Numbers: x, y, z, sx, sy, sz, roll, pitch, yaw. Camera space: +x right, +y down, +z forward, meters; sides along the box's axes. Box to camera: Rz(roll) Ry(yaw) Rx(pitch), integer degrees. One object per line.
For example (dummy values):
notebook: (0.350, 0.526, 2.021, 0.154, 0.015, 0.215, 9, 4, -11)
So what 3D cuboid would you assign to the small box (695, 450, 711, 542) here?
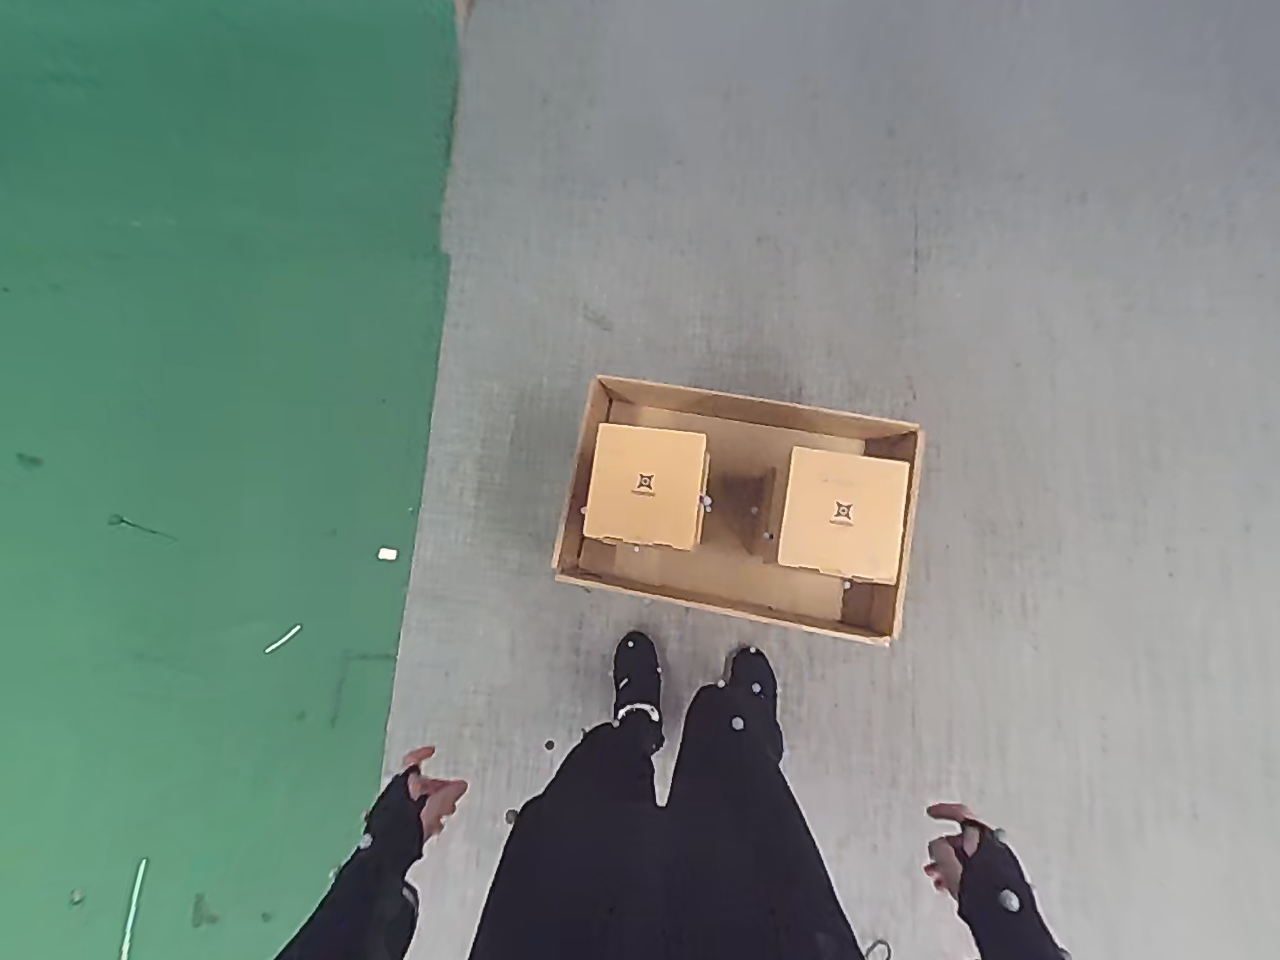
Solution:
small box: (0.038, 0.028, 1.032, 0.179, 0.176, 0.168, 7, 82, 8)

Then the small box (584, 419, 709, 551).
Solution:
small box: (0.016, 0.015, 0.871, 0.168, 0.176, 0.179, 7, 83, 7)

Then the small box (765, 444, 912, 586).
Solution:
small box: (0.294, 0.059, 0.833, 0.168, 0.176, 0.179, 10, 82, 7)
